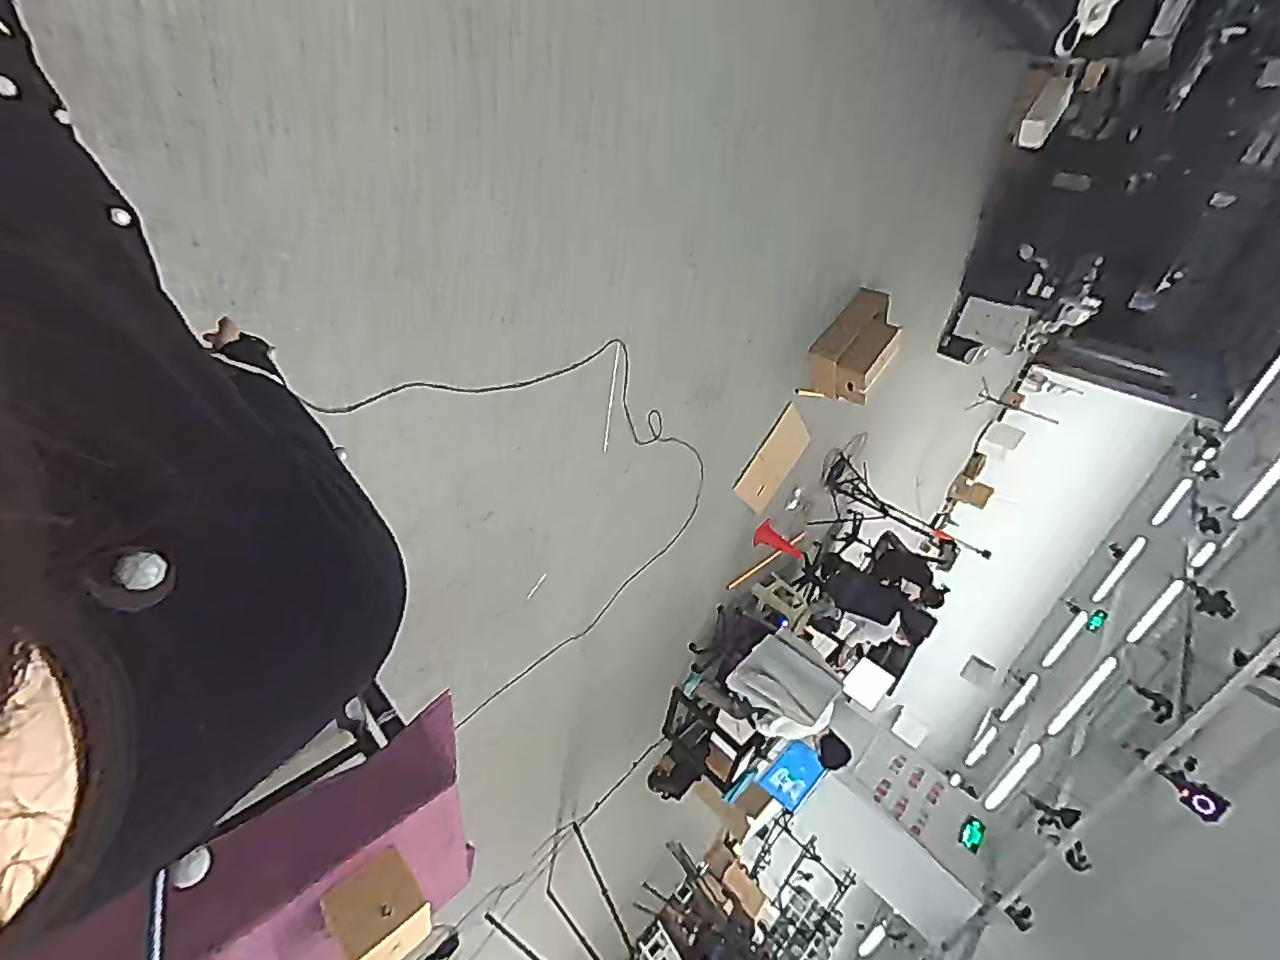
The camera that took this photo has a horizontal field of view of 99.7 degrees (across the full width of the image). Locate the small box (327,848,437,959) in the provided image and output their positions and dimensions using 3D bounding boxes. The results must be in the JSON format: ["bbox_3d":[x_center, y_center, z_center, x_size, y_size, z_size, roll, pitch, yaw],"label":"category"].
[{"bbox_3d":[-0.594,1.011,1.253,0.179,0.176,0.168,-21,132,-42],"label":"small box"}]
